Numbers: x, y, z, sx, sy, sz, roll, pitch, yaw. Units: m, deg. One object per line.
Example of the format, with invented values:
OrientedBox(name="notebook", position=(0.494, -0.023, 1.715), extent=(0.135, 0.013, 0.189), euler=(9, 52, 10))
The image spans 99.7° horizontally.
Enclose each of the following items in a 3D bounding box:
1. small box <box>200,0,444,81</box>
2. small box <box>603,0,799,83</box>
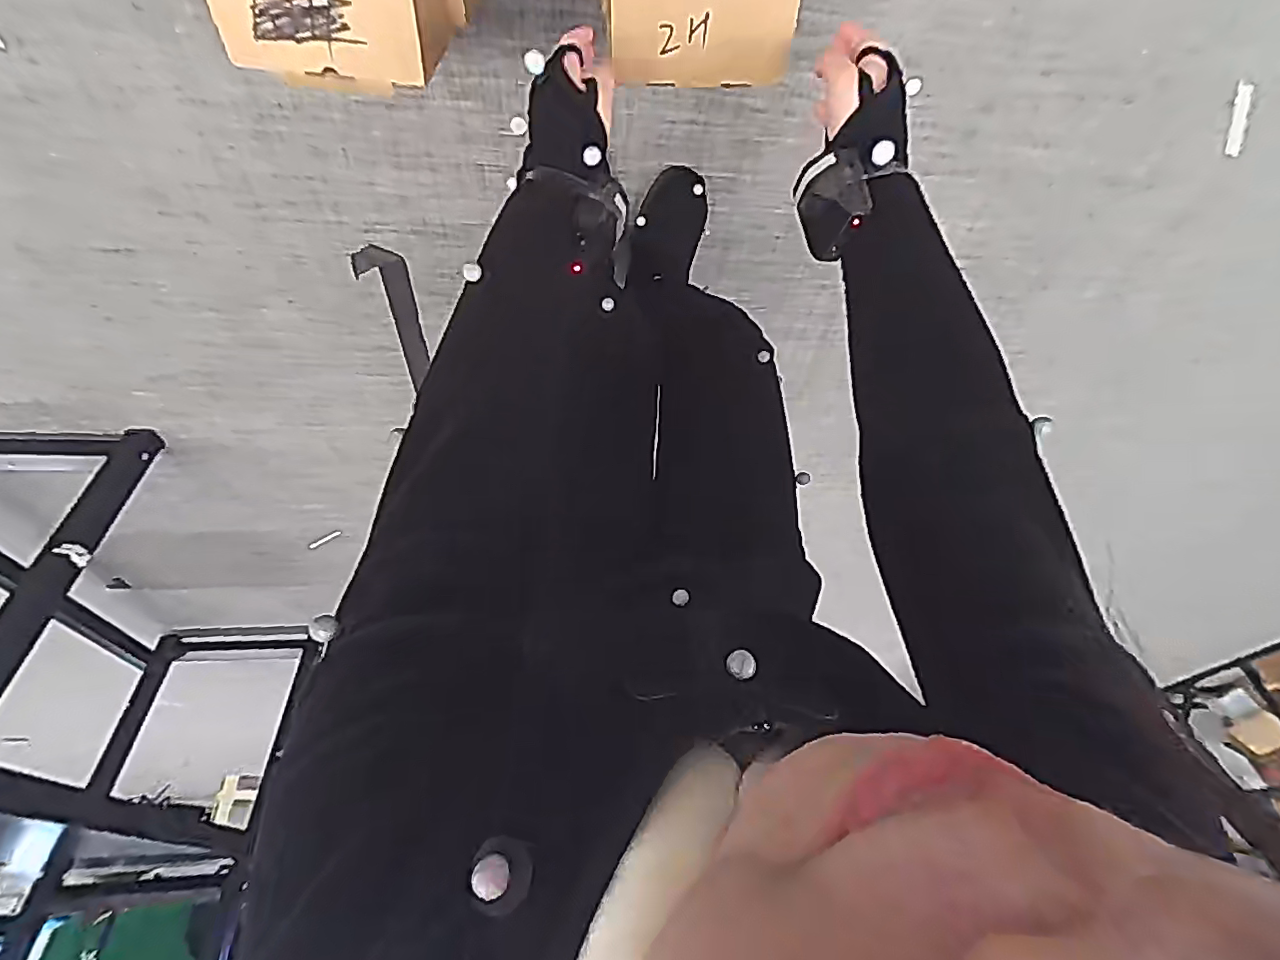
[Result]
OrientedBox(name="small box", position=(-0.273, -0.477, 0.459), extent=(0.168, 0.176, 0.179), euler=(0, 140, -9))
OrientedBox(name="small box", position=(0.050, -0.487, 0.484), extent=(0.168, 0.176, 0.179), euler=(-1, 142, -4))
